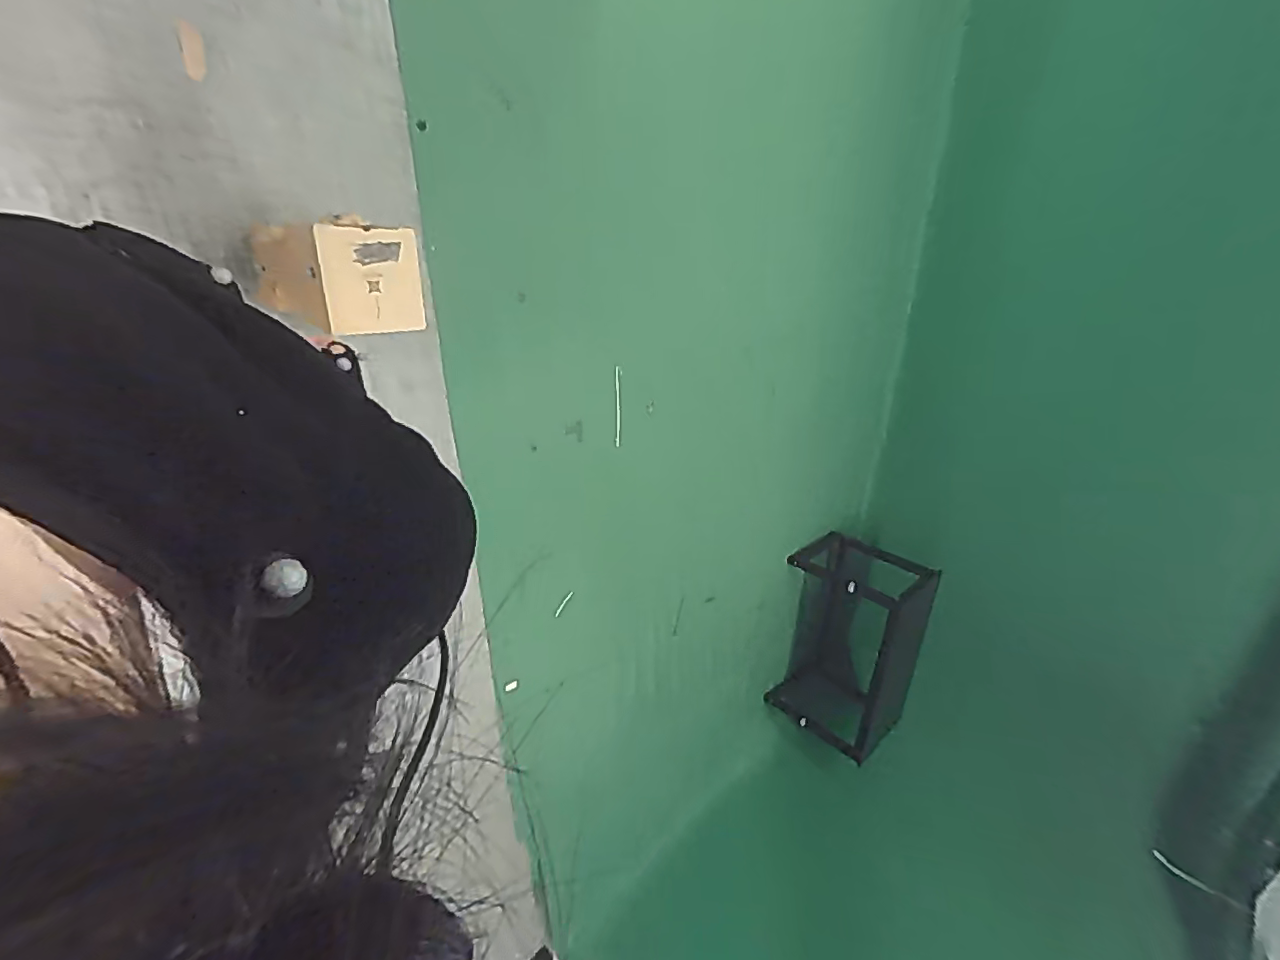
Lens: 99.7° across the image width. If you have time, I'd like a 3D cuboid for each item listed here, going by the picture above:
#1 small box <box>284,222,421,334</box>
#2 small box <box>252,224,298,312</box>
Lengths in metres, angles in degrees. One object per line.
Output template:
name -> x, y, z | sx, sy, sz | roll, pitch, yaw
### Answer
small box -> -0.521, -0.368, 0.982 | 0.168, 0.176, 0.179 | -18, 121, -41
small box -> -0.747, -0.460, 1.203 | 0.179, 0.176, 0.168 | -8, 114, -43
